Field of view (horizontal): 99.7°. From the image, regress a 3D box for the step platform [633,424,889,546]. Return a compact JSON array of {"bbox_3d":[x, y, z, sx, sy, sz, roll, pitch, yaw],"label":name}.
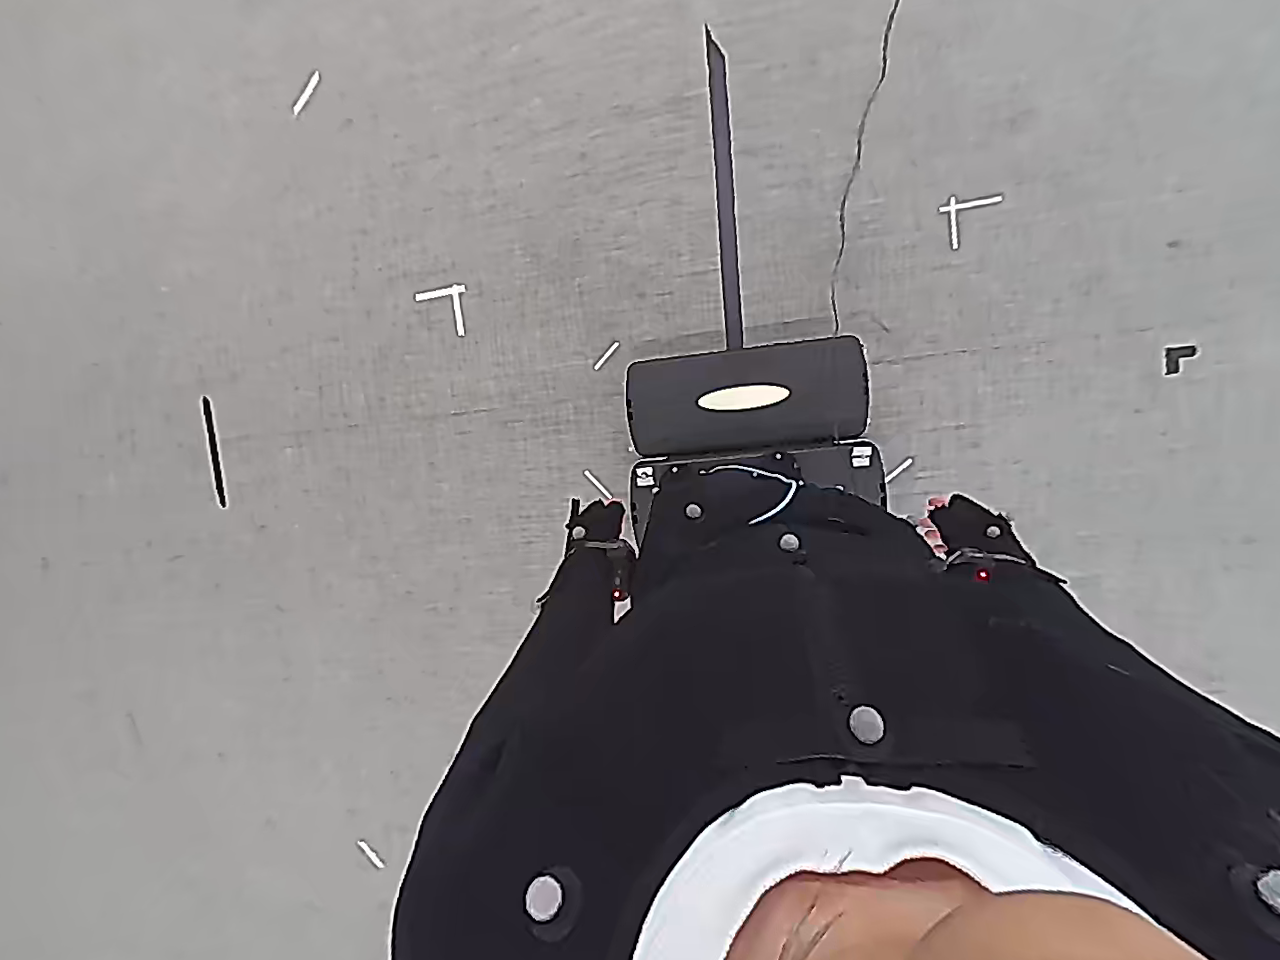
[{"bbox_3d":[0.322,0.018,1.516,0.684,0.204,0.286,-6,93,11],"label":"step platform"}]
